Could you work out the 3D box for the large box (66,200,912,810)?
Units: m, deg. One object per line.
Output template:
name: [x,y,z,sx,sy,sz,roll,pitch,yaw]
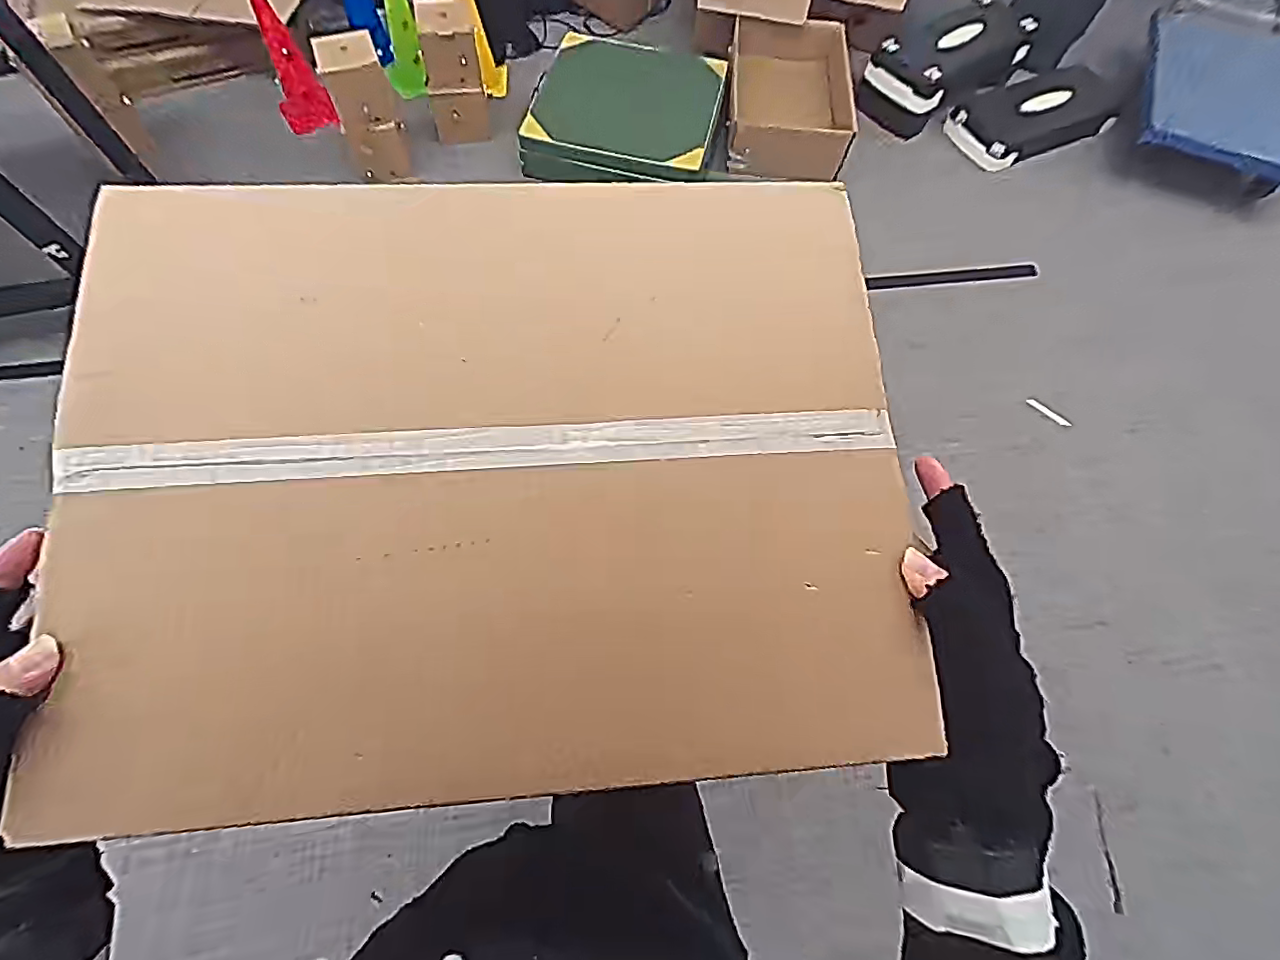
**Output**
large box: [-0.082,0.019,0.433,0.408,0.320,0.320,-3,78,-5]
